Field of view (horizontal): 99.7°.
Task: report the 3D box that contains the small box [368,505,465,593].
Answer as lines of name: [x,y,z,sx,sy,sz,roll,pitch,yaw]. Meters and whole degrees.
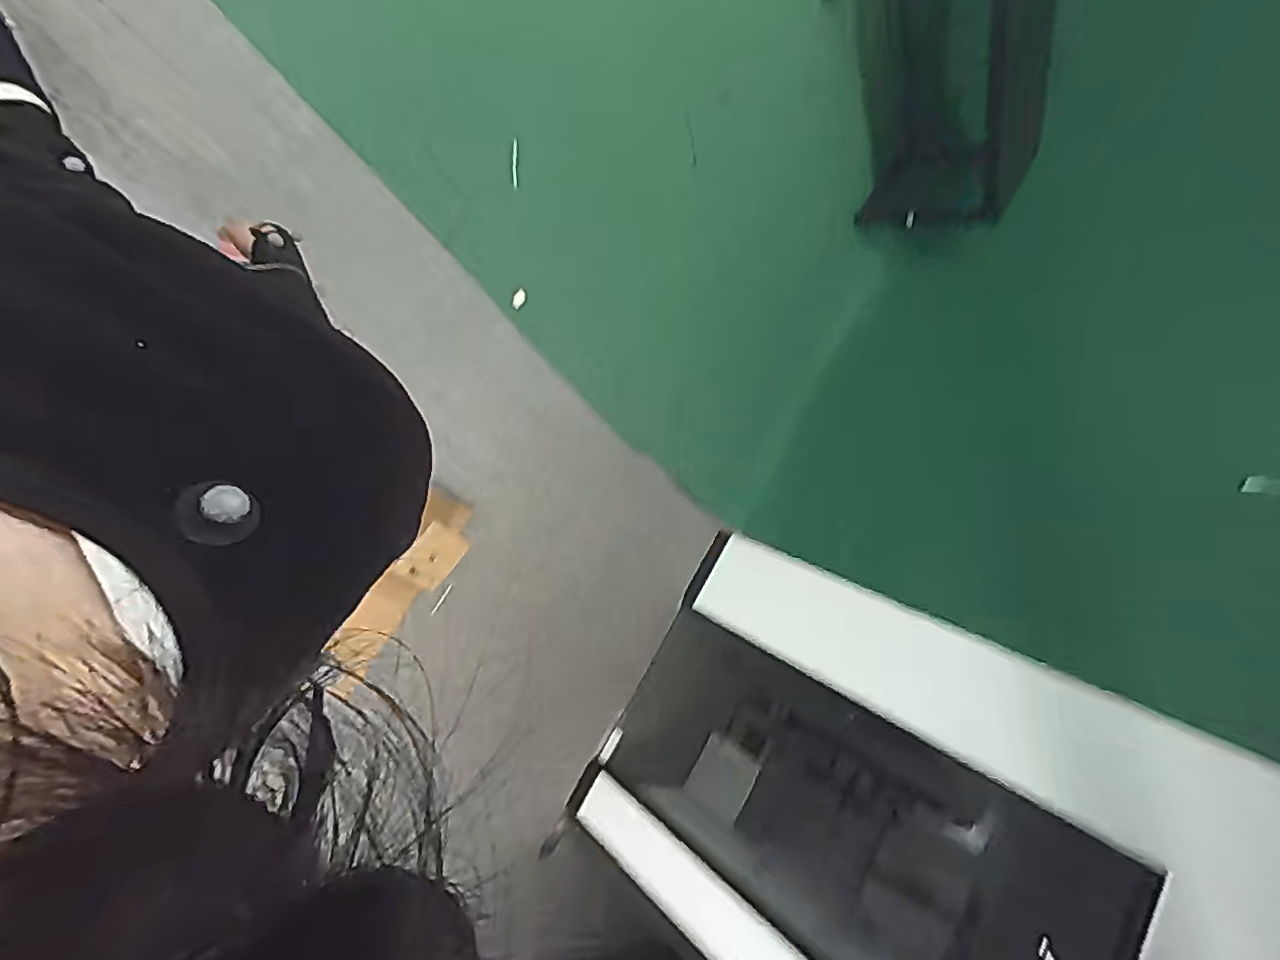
small box: [-0.673,0.202,1.621,0.179,0.176,0.168,-54,140,-17]
